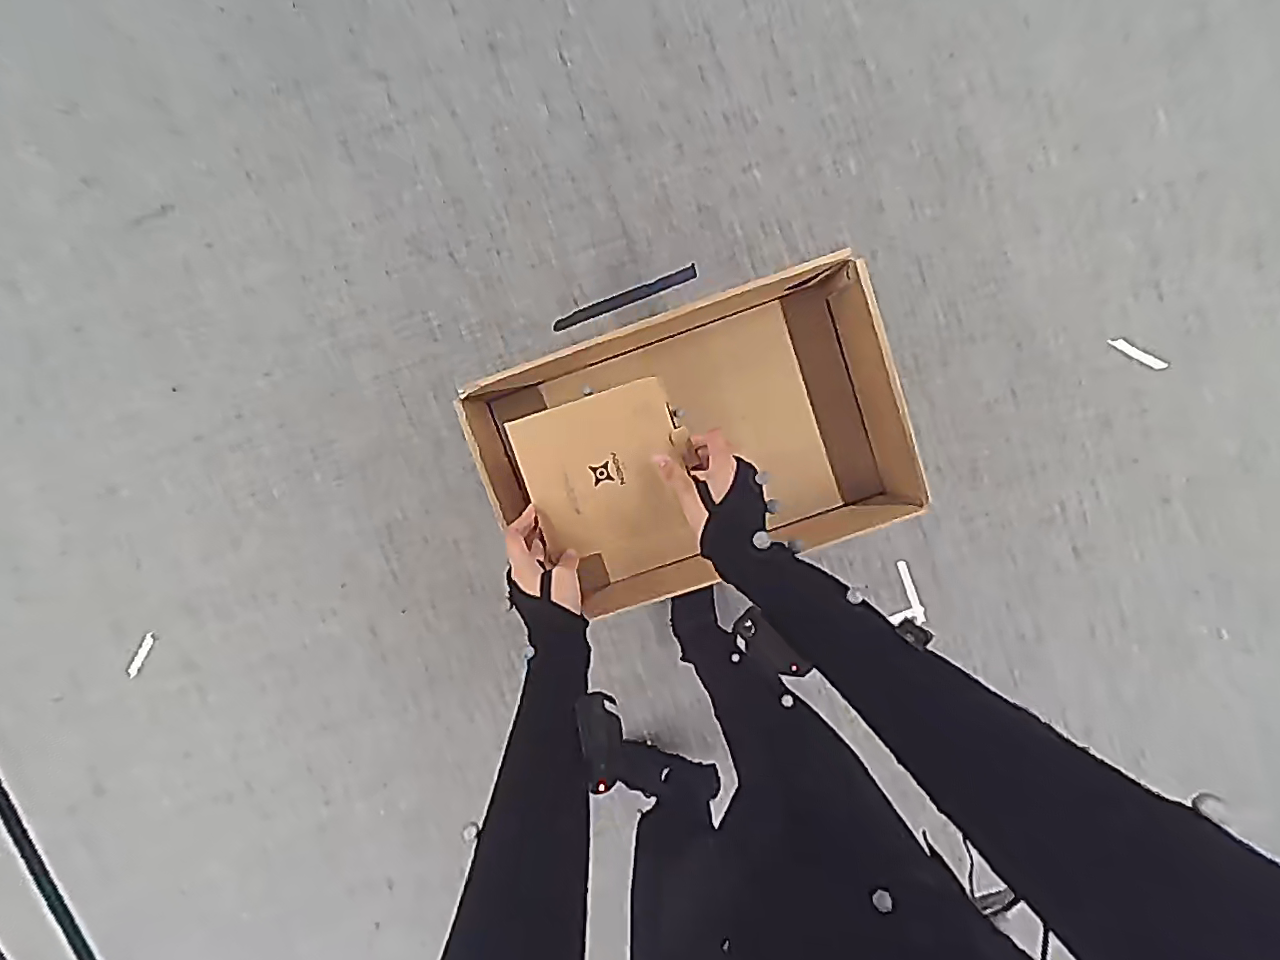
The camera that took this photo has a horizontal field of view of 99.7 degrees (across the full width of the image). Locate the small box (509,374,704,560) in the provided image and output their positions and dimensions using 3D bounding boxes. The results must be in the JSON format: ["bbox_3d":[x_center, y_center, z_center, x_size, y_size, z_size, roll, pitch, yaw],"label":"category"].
[{"bbox_3d":[-0.034,-0.022,0.657,0.179,0.176,0.168,-17,95,5],"label":"small box"}]
